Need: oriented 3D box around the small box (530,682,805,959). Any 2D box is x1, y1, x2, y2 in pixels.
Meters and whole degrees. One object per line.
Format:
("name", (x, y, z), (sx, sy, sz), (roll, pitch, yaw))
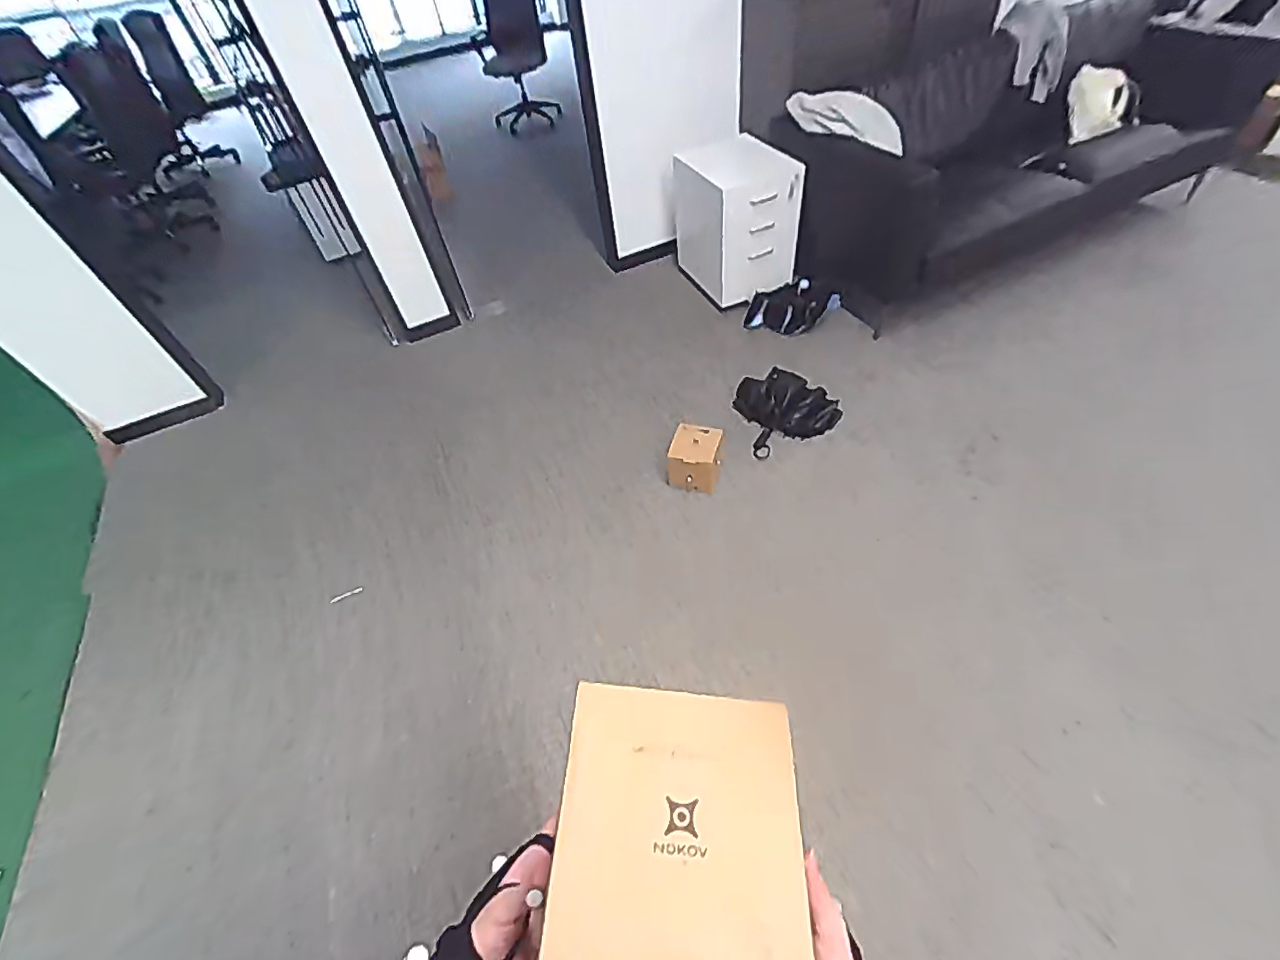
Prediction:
("small box", (0.013, 0.281, 0.422), (0.168, 0.176, 0.179), (7, 48, -4))
